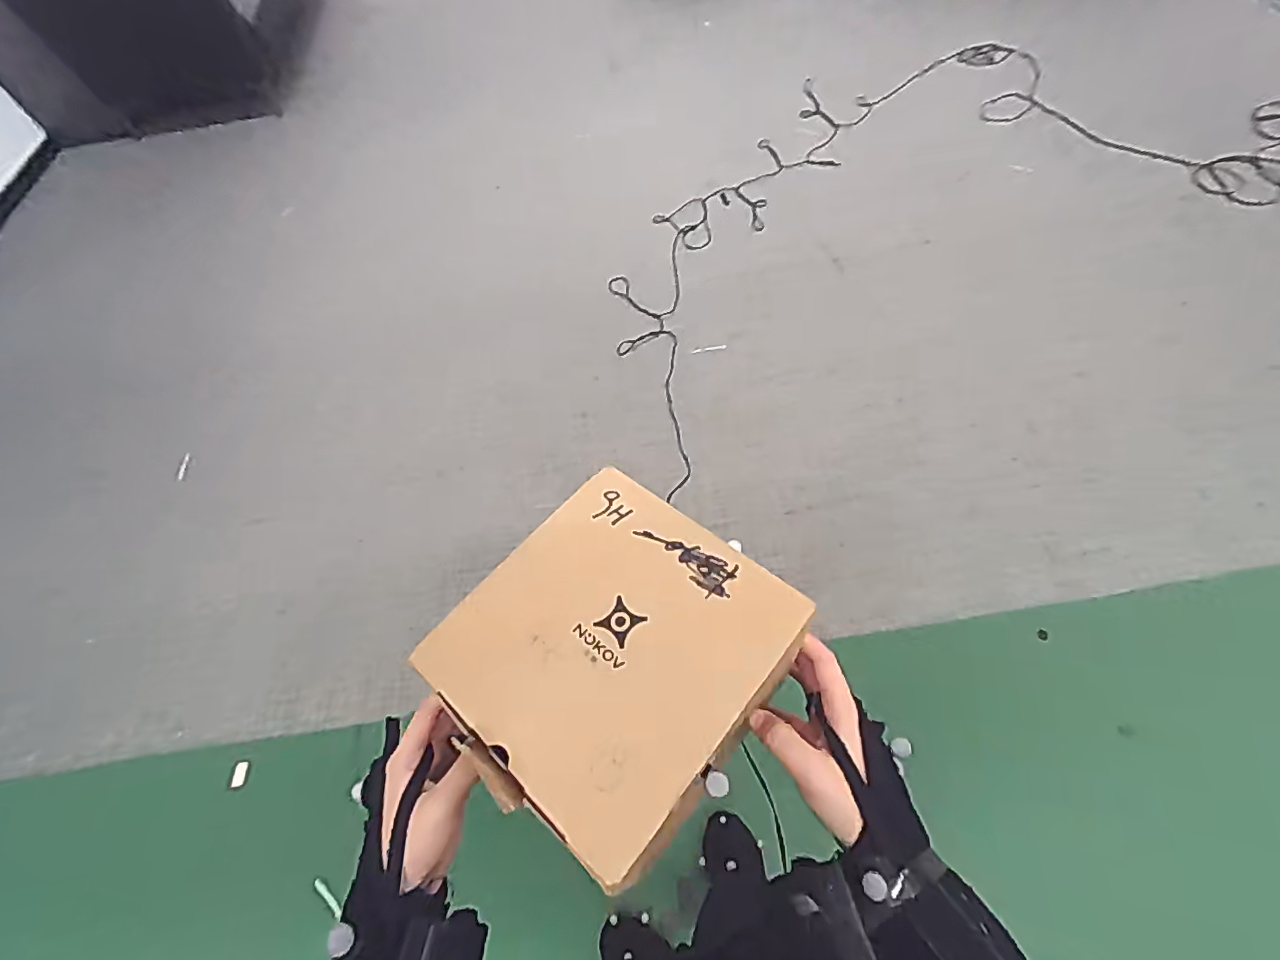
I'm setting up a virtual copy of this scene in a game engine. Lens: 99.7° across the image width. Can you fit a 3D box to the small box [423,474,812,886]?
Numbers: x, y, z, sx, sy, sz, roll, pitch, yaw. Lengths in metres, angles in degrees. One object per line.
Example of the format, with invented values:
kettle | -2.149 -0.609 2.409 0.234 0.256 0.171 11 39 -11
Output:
small box | -0.005 0.136 0.379 0.168 0.176 0.179 34 67 26
